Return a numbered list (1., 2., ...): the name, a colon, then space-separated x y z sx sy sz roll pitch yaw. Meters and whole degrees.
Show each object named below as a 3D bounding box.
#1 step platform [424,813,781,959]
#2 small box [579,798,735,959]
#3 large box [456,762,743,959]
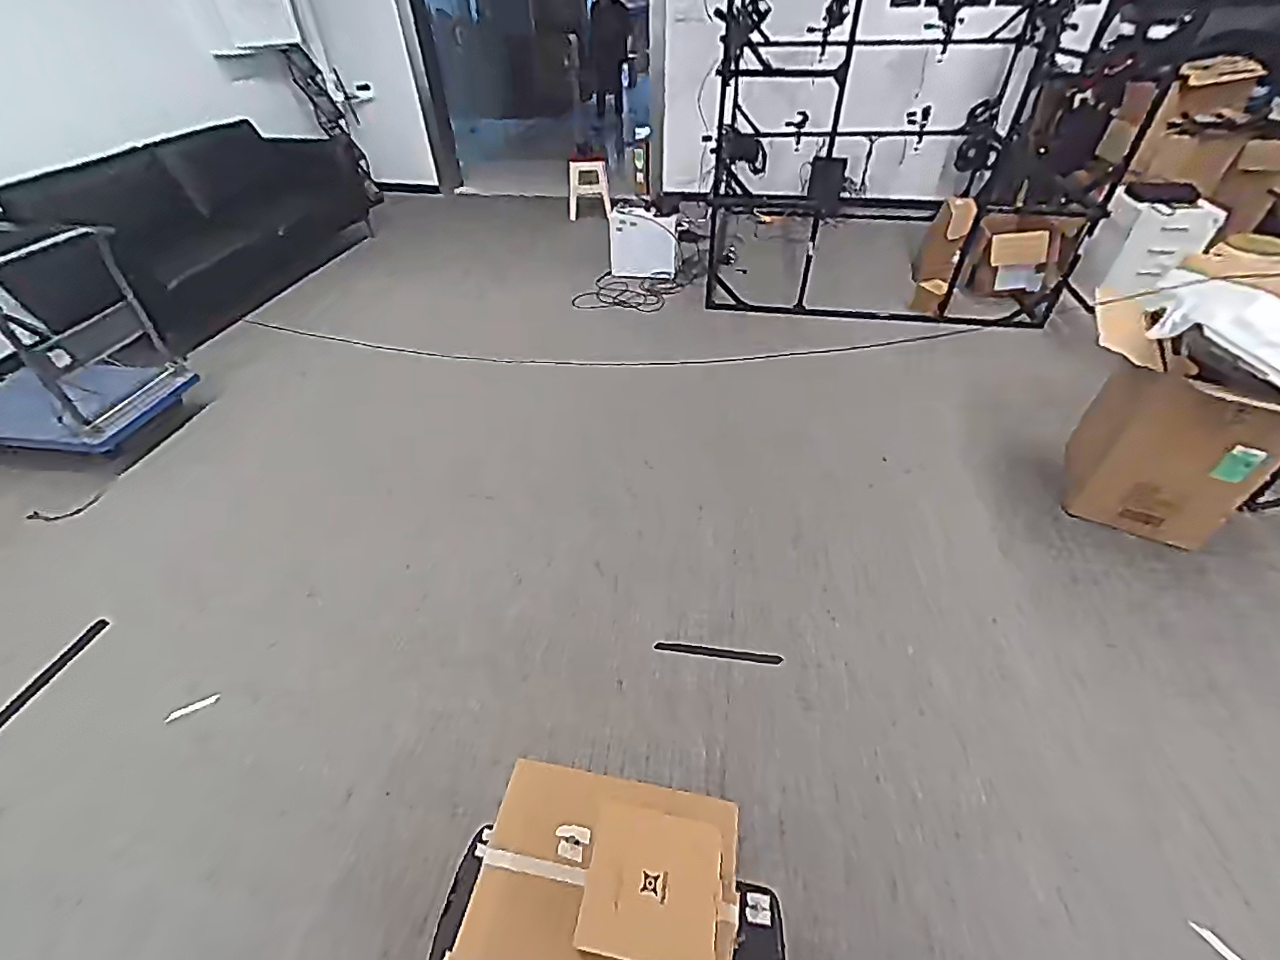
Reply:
1. step platform: -0.069 0.929 1.079 0.684 0.204 0.286 10 43 13
2. small box: 0.030 0.573 0.748 0.179 0.176 0.168 7 43 10
3. large box: -0.040 0.738 0.934 0.408 0.320 0.320 6 42 10
